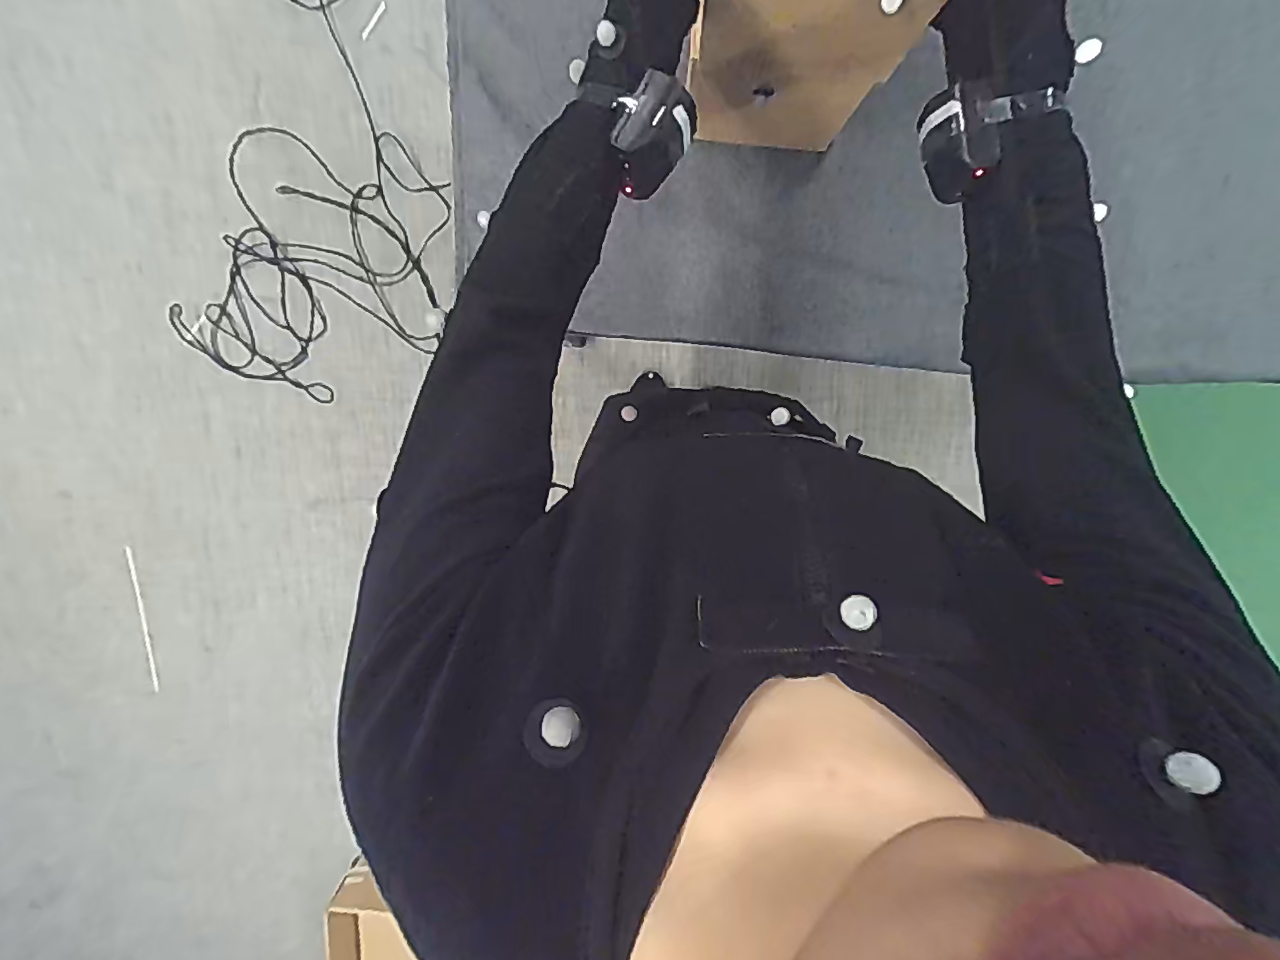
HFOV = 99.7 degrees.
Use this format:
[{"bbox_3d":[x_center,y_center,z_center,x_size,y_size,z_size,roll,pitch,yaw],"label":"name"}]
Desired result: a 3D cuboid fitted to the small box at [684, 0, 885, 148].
[{"bbox_3d":[0.143,-0.478,0.571,0.179,0.176,0.168,6,100,0],"label":"small box"}]
